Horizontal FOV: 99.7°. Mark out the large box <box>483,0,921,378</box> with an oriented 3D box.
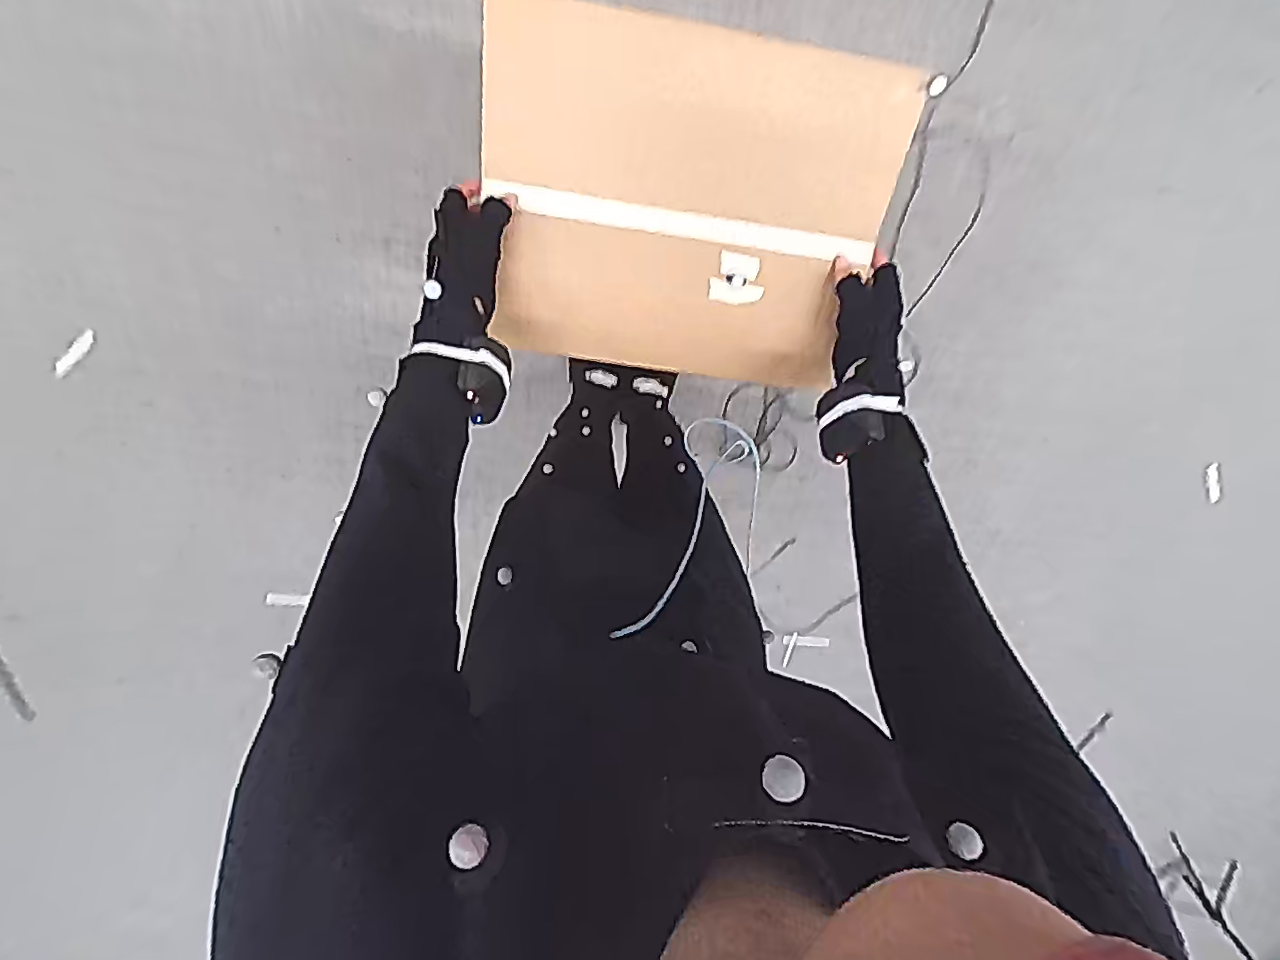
[{"bbox_3d":[0.037,-0.345,0.678,0.408,0.320,0.320,7,121,-6],"label":"large box"}]
